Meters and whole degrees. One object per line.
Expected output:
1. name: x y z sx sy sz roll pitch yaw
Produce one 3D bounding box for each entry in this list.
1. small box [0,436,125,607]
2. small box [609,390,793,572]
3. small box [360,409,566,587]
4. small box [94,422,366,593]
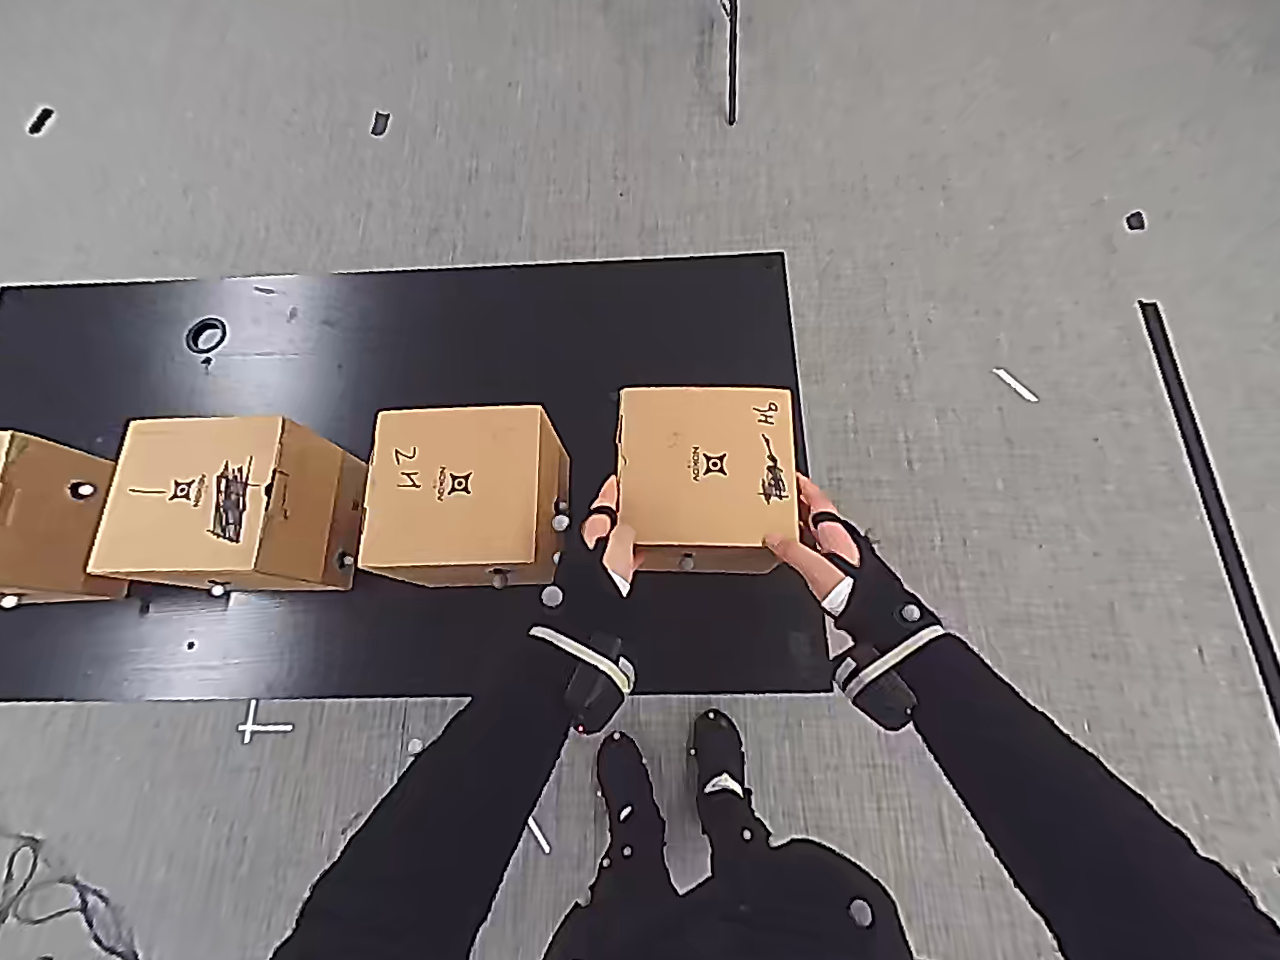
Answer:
1. small box: -0.747 0.058 0.644 0.179 0.176 0.168 -4 72 2
2. small box: 0.065 0.010 0.609 0.179 0.176 0.168 0 72 4
3. small box: -0.183 0.030 0.618 0.179 0.176 0.168 -2 72 2
4. small box: -0.452 0.039 0.632 0.179 0.176 0.168 -1 72 4
